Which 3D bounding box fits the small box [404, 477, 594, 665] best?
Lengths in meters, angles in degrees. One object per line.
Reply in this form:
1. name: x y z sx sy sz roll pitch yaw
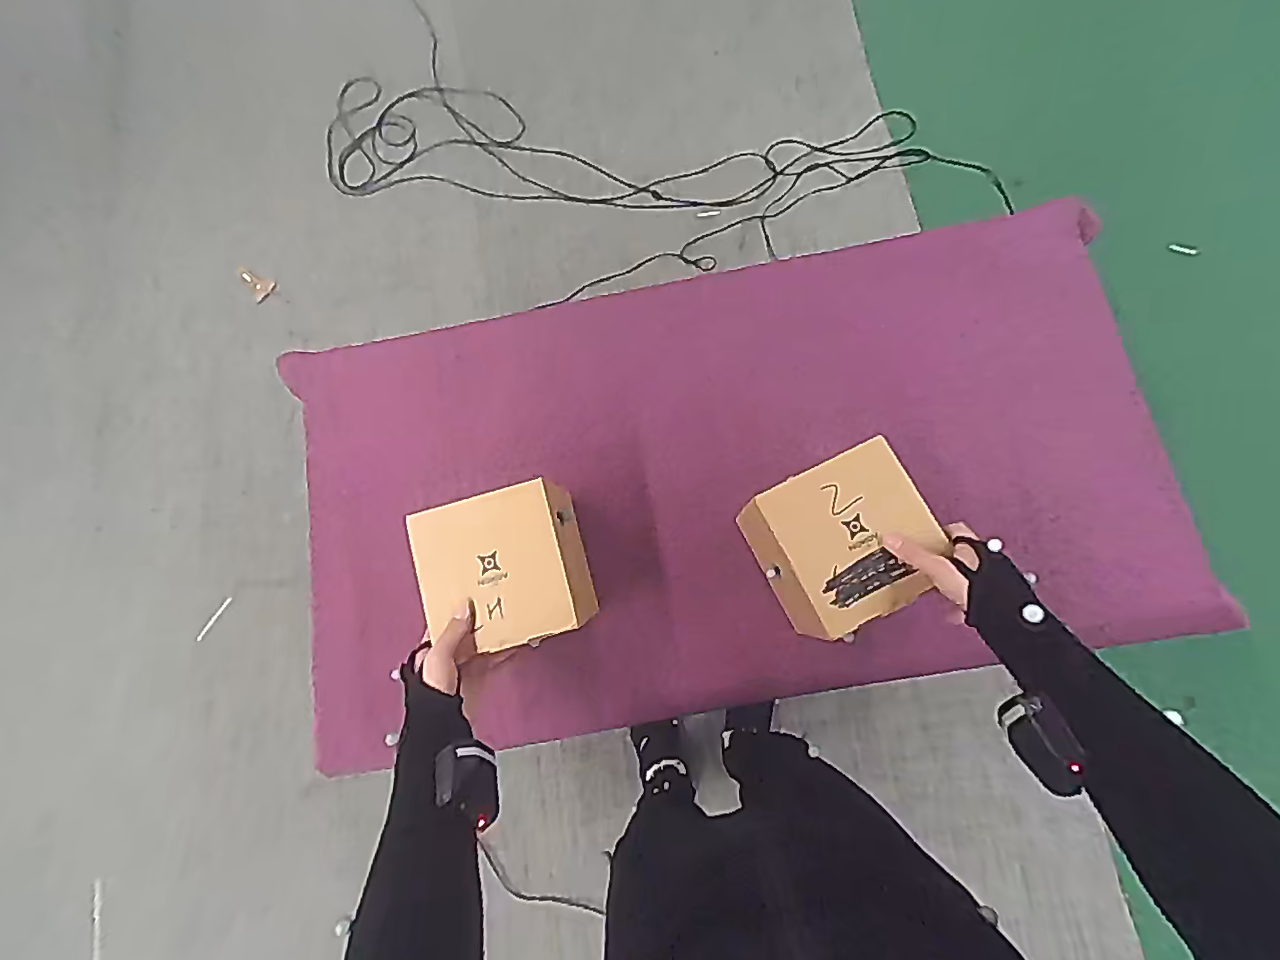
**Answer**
1. small box: -0.164 0.110 0.675 0.168 0.176 0.179 -15 82 2
